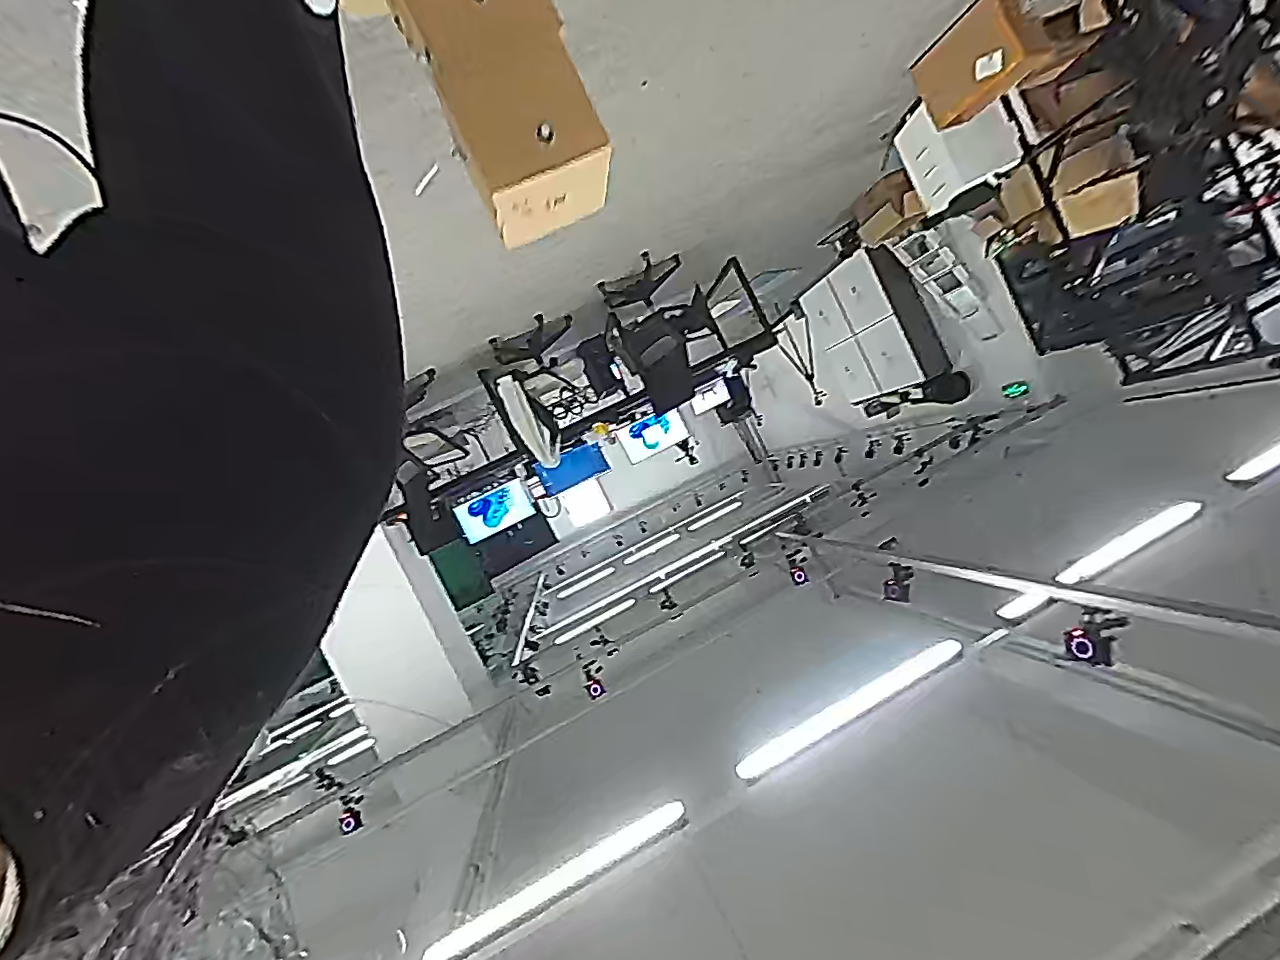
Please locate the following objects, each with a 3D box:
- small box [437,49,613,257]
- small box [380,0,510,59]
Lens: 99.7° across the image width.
[{"bbox_3d":[-0.159,-0.462,0.777,0.179,0.176,0.168,-27,-178,-7],"label":"small box"},{"bbox_3d":[-0.307,-0.755,0.752,0.179,0.176,0.168,-28,-177,-5],"label":"small box"}]
